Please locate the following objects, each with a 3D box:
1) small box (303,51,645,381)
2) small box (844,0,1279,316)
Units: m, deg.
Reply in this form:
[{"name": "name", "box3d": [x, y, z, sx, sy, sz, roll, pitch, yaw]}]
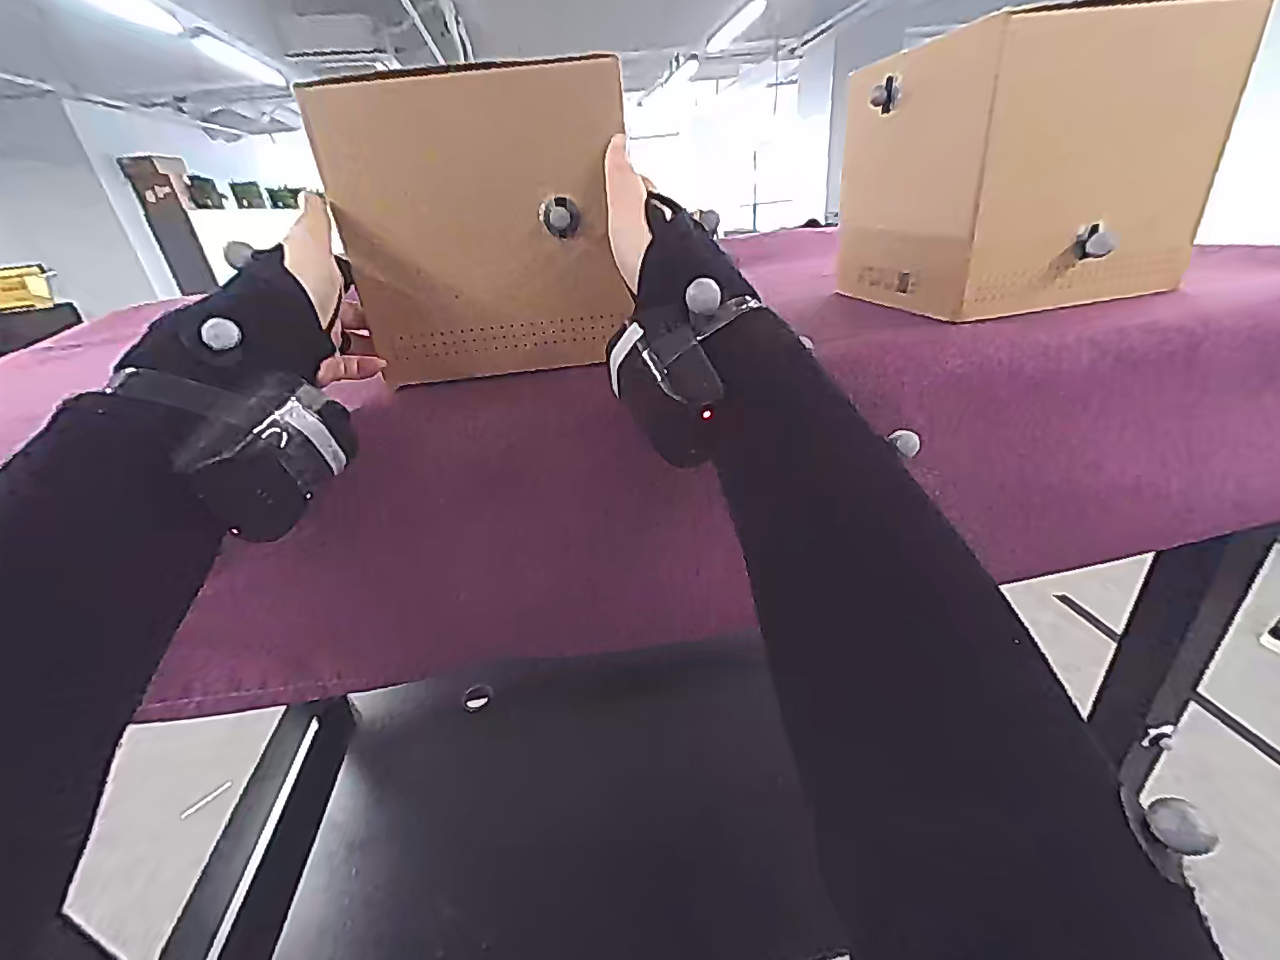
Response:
[{"name": "small box", "box3d": [-0.090, -0.180, 0.392, 0.179, 0.176, 0.168, -7, 26, -1]}, {"name": "small box", "box3d": [0.273, -0.228, 0.401, 0.179, 0.176, 0.168, -10, 26, -7]}]
